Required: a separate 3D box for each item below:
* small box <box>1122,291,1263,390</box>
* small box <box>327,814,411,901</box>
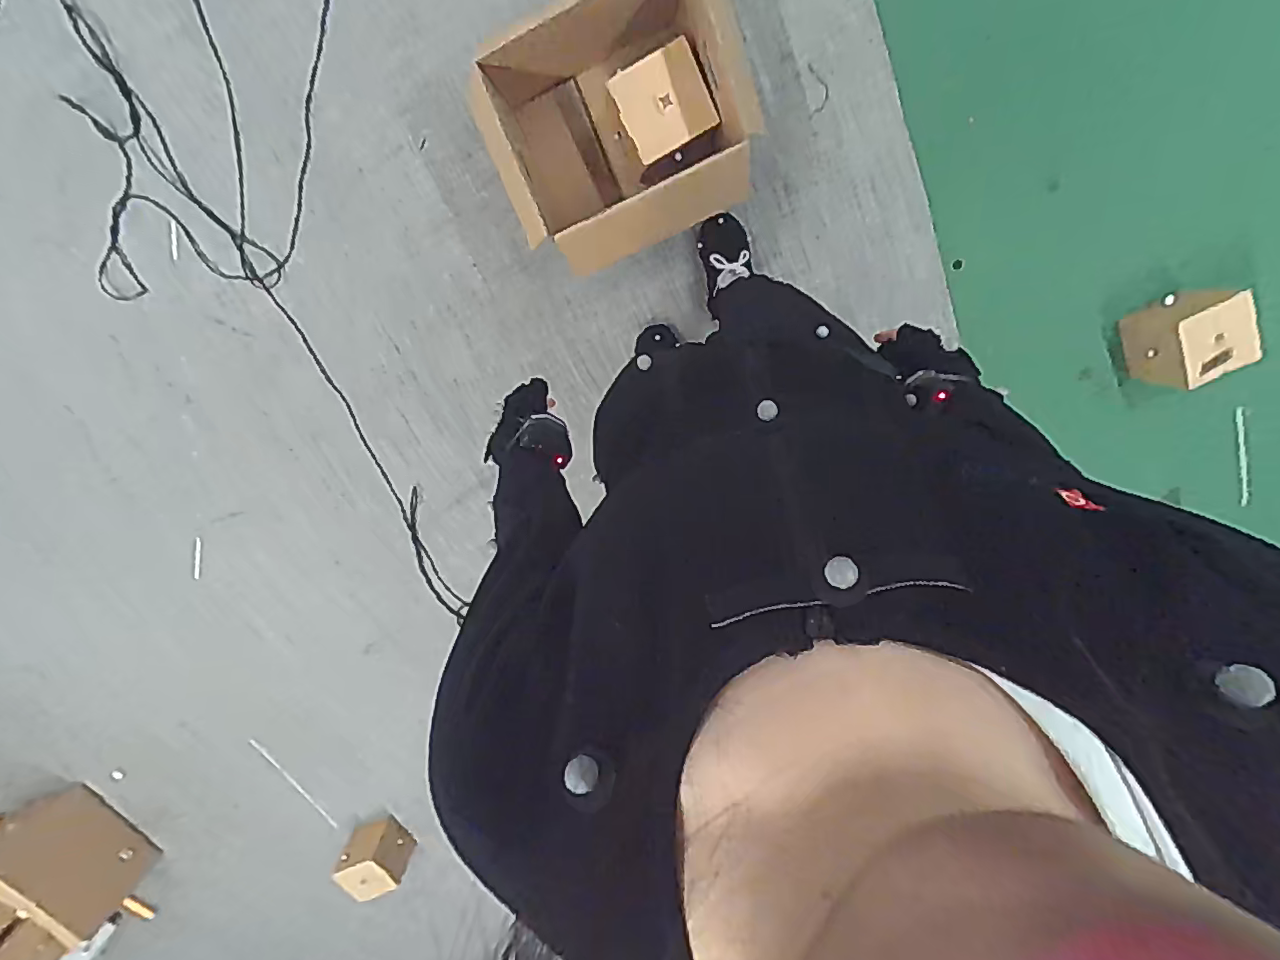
[{"bbox_3d":[1.341,-0.346,1.322,0.168,0.176,0.179,-26,107,9],"label":"small box"},{"bbox_3d":[-0.957,1.340,1.925,0.179,0.176,0.168,-25,109,8],"label":"small box"}]
